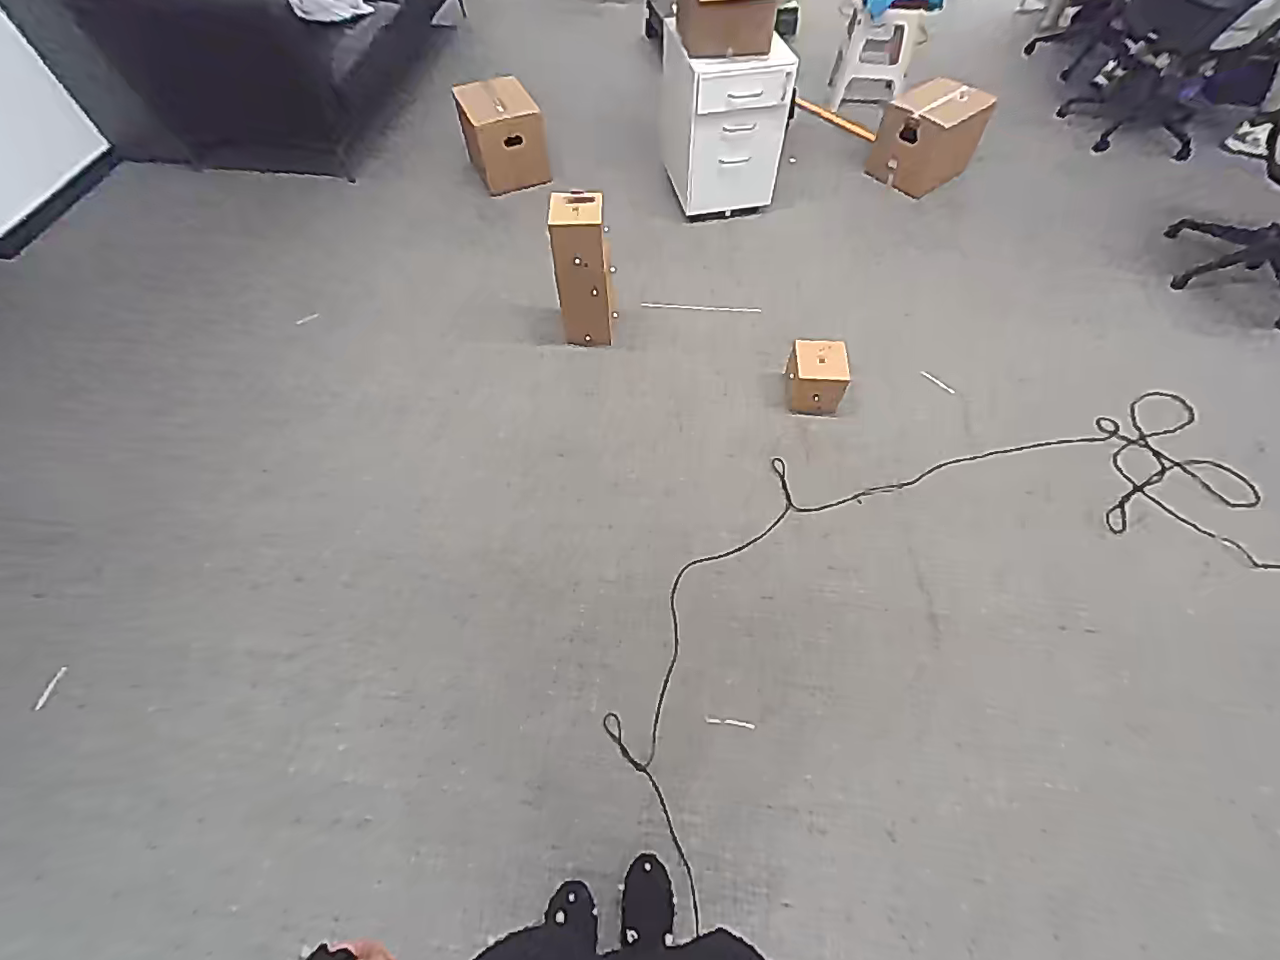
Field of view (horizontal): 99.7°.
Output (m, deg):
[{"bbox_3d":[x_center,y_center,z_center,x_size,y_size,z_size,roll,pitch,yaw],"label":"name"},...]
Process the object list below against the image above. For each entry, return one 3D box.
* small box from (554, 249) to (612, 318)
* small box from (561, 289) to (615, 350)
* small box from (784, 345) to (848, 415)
[{"bbox_3d":[-0.194,-0.688,1.900,0.179,0.176,0.168,0,56,3],"label":"small box"},{"bbox_3d":[-0.190,-0.609,2.043,0.179,0.176,0.168,3,57,3],"label":"small box"},{"bbox_3d":[0.592,-0.337,1.840,0.168,0.176,0.179,3,58,3],"label":"small box"}]
